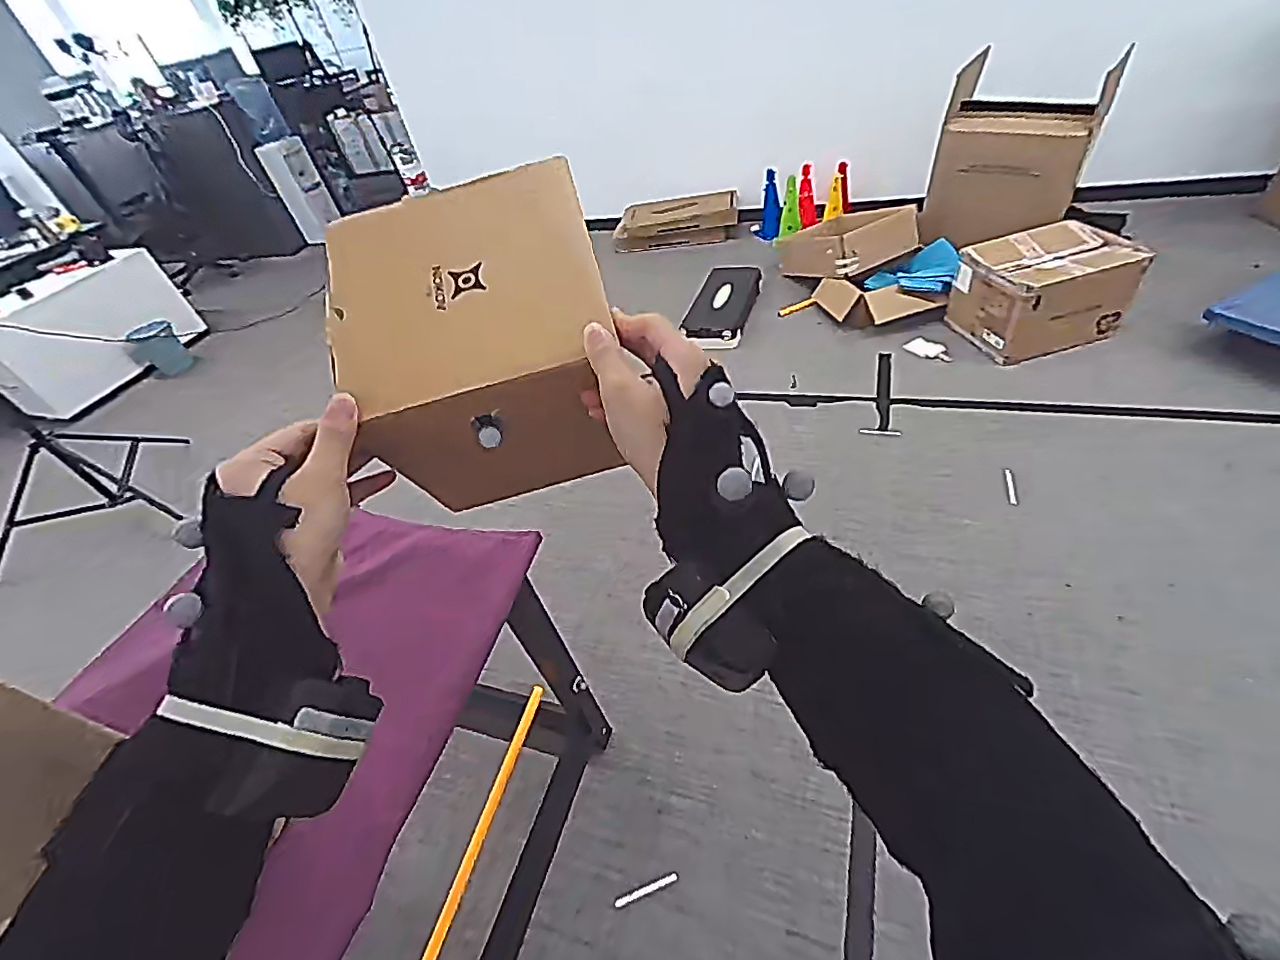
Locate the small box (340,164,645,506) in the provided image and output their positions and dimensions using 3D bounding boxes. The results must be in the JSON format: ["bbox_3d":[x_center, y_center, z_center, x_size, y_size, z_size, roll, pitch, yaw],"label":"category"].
[{"bbox_3d":[-0.098,-0.096,0.421,0.179,0.176,0.168,-16,69,1],"label":"small box"}]
